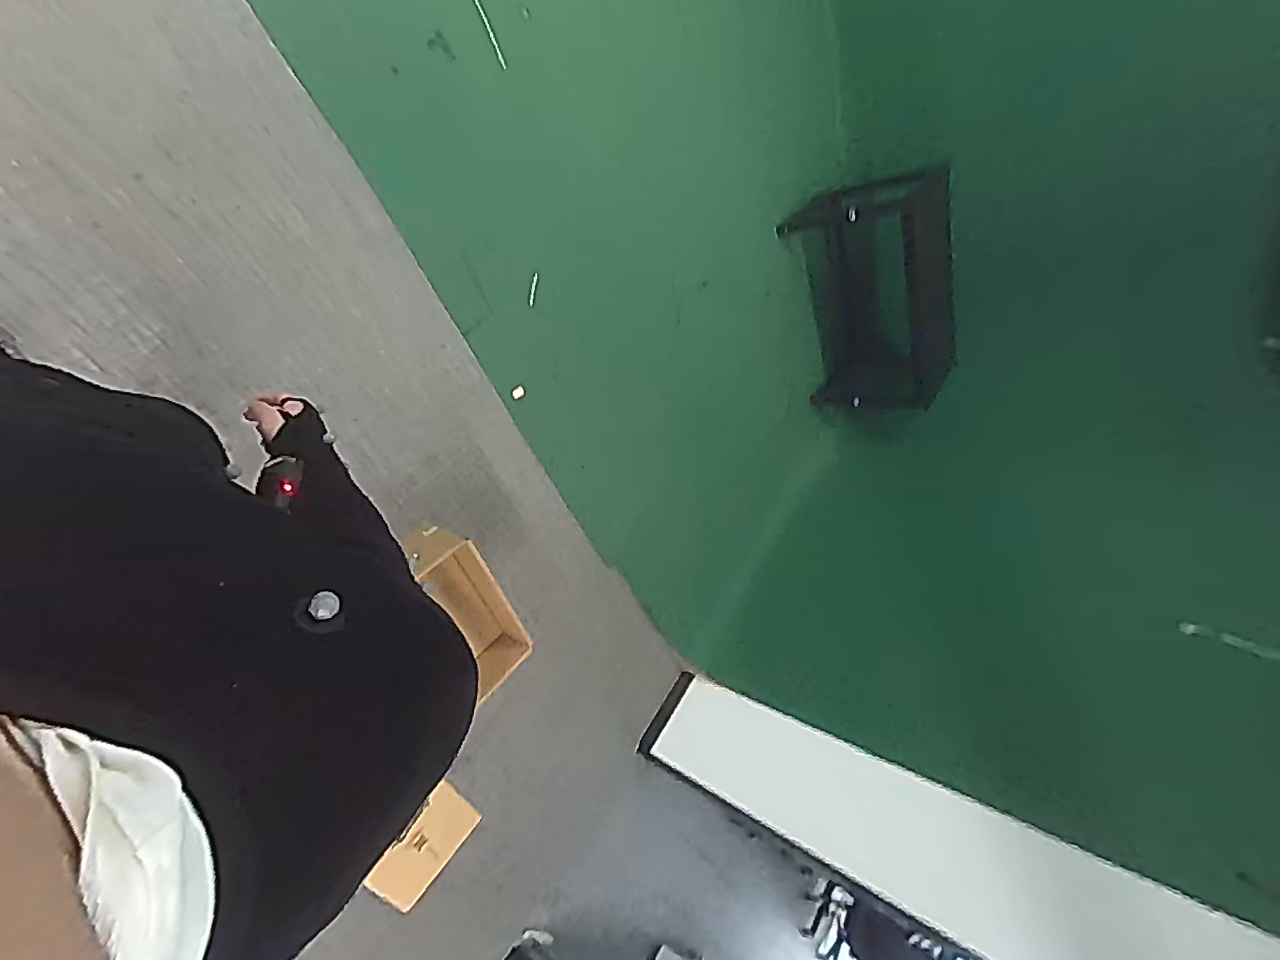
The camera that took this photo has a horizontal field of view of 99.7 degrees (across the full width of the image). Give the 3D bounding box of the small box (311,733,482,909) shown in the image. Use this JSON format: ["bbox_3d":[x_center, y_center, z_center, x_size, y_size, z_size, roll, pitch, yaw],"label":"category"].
[{"bbox_3d":[-0.413,0.563,0.916,0.168,0.176,0.179,-46,129,-34],"label":"small box"}]
